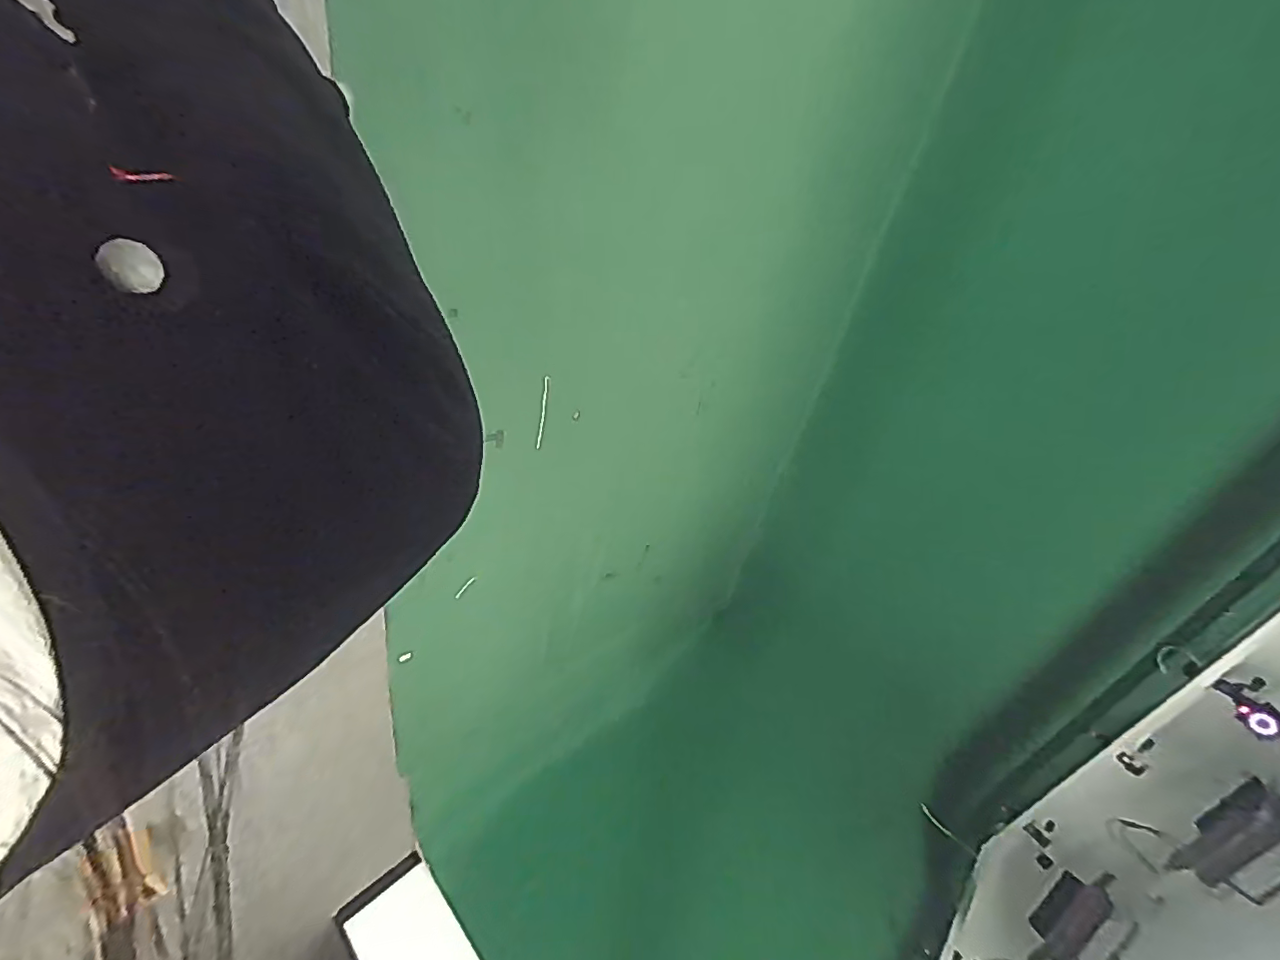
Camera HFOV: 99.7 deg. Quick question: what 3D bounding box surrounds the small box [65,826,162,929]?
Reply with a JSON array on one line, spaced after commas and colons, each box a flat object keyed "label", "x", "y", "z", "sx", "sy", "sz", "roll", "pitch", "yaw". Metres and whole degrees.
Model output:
[{"label": "small box", "x": -1.661, "y": 1.245, "z": 1.706, "sx": 0.179, "sy": 0.176, "sz": 0.168, "roll": -20, "pitch": 136, "yaw": -42}]
